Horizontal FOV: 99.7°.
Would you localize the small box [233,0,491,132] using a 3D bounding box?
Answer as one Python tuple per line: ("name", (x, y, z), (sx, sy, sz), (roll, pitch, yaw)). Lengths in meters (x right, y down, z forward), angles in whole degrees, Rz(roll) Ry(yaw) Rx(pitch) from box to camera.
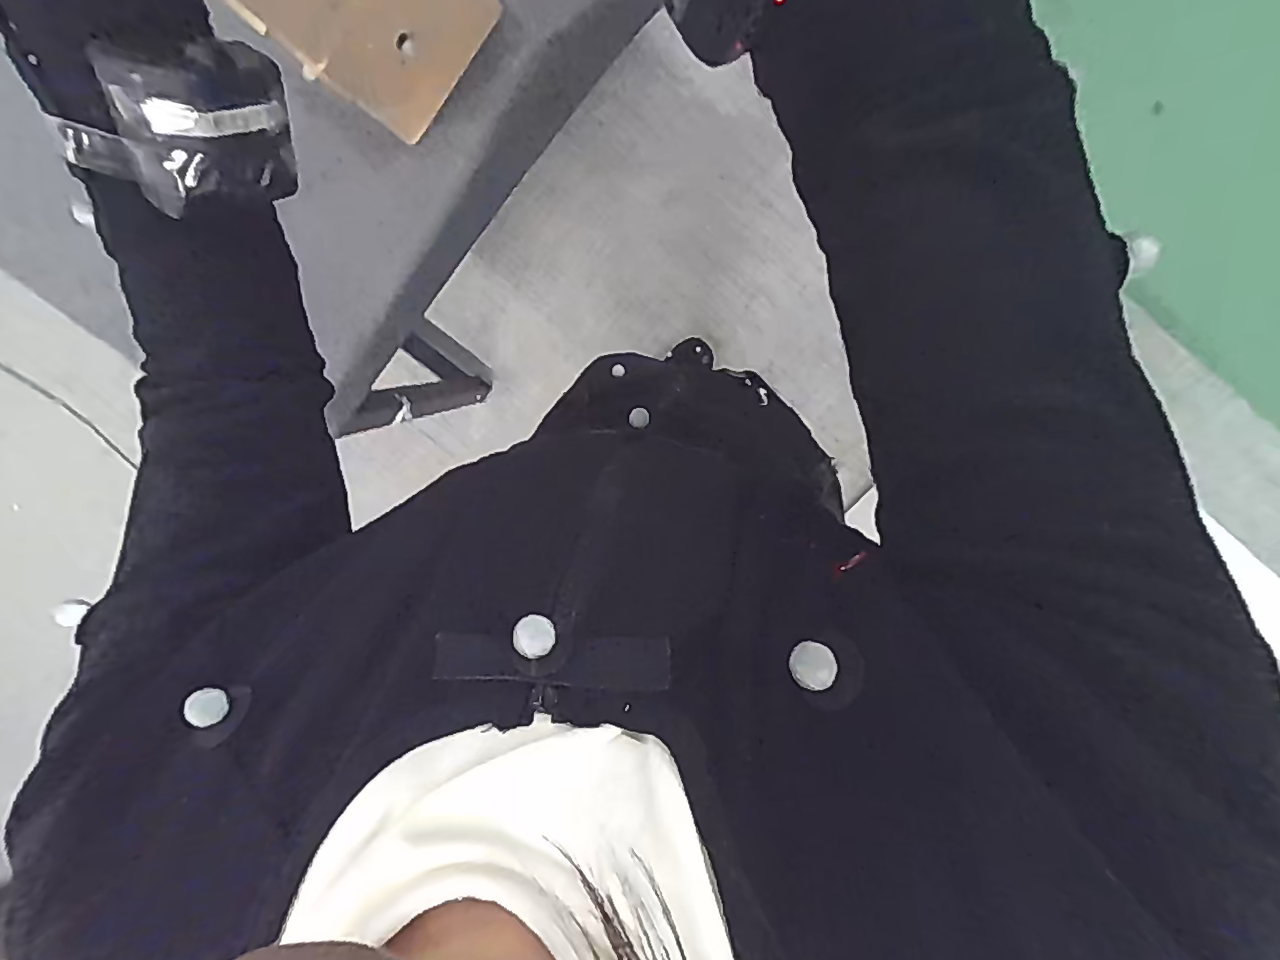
("small box", (-0.275, -0.486, 0.520), (0.168, 0.176, 0.179), (42, 105, -4))
